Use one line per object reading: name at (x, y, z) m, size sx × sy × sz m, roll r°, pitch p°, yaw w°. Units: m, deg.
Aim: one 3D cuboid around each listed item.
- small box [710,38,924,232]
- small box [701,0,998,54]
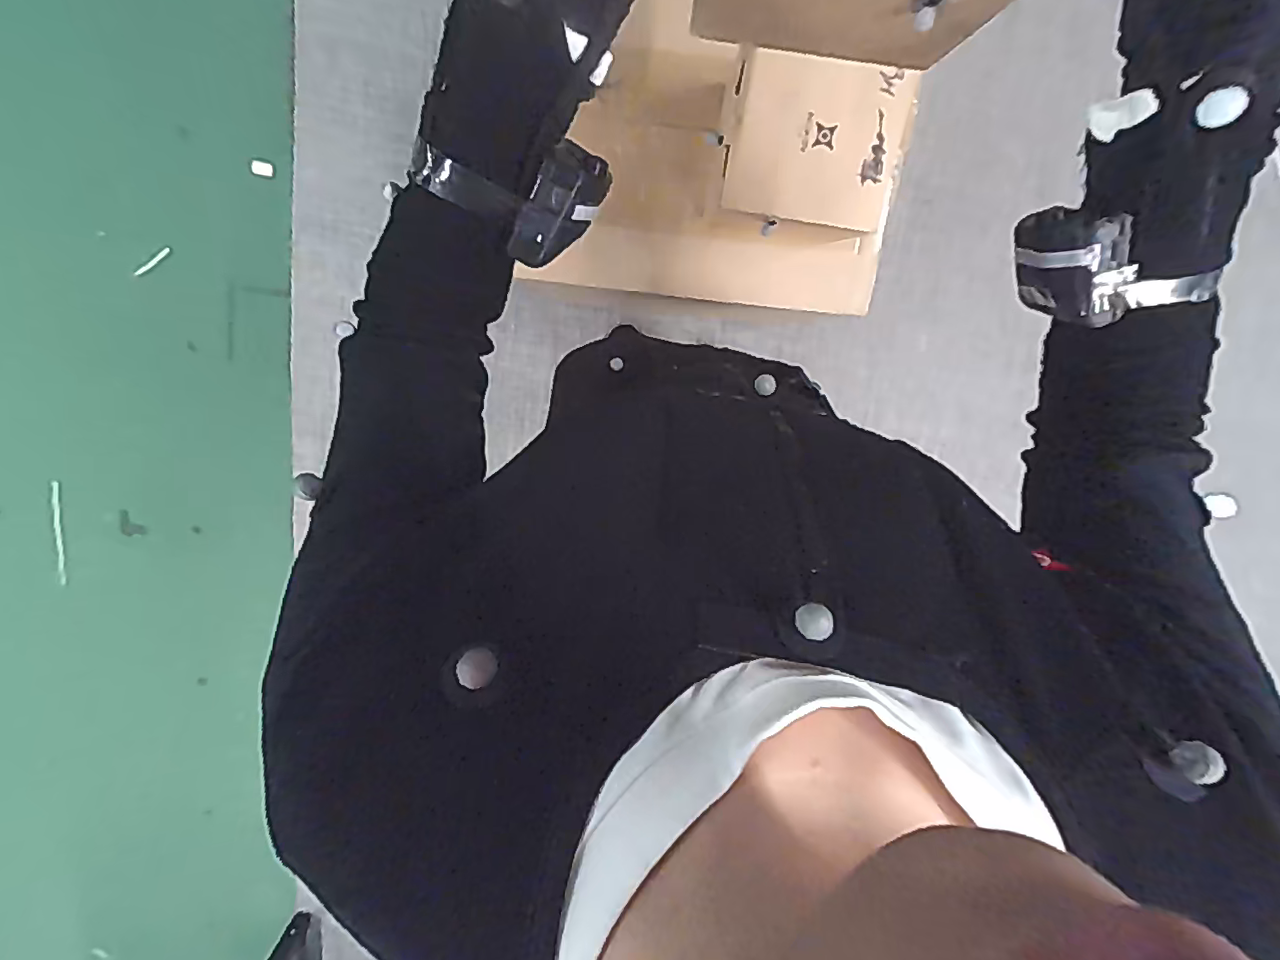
small box at (0.183, -0.392, 0.627) m, size 0.179 × 0.176 × 0.168 m, roll 8°, pitch 110°, yaw -2°
small box at (0.136, -0.361, 0.286) m, size 0.179 × 0.176 × 0.168 m, roll 5°, pitch 107°, yaw -1°
